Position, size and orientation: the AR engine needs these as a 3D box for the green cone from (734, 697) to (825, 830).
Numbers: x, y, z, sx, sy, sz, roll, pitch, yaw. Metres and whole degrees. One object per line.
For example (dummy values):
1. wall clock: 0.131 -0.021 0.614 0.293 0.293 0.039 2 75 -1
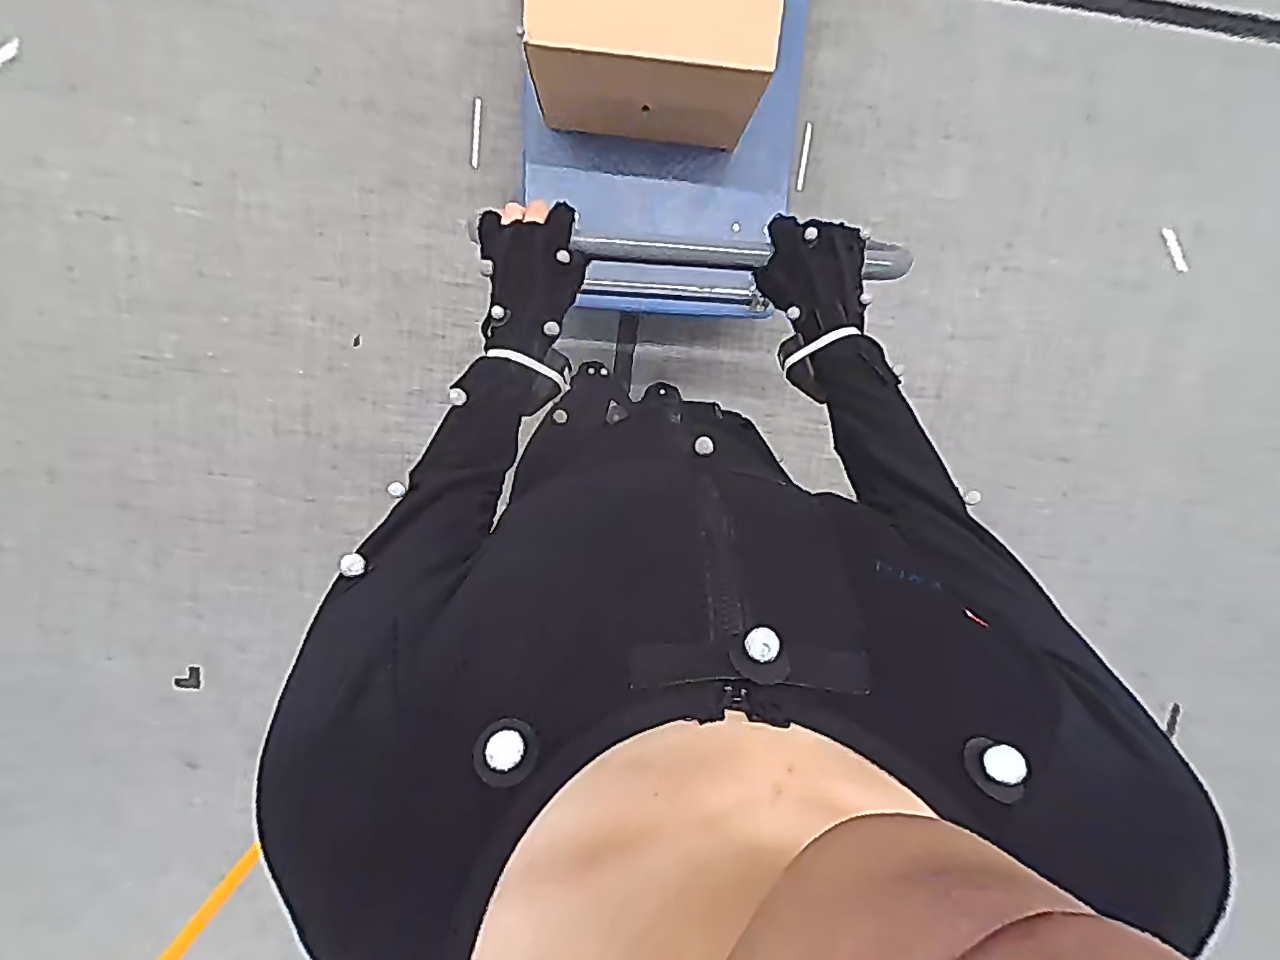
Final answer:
1. green cone: 0.405 0.787 1.463 0.202 0.368 0.200 10 101 -5

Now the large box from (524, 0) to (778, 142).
1. large box: 0.021 -0.850 0.977 0.408 0.320 0.320 4 101 -3
